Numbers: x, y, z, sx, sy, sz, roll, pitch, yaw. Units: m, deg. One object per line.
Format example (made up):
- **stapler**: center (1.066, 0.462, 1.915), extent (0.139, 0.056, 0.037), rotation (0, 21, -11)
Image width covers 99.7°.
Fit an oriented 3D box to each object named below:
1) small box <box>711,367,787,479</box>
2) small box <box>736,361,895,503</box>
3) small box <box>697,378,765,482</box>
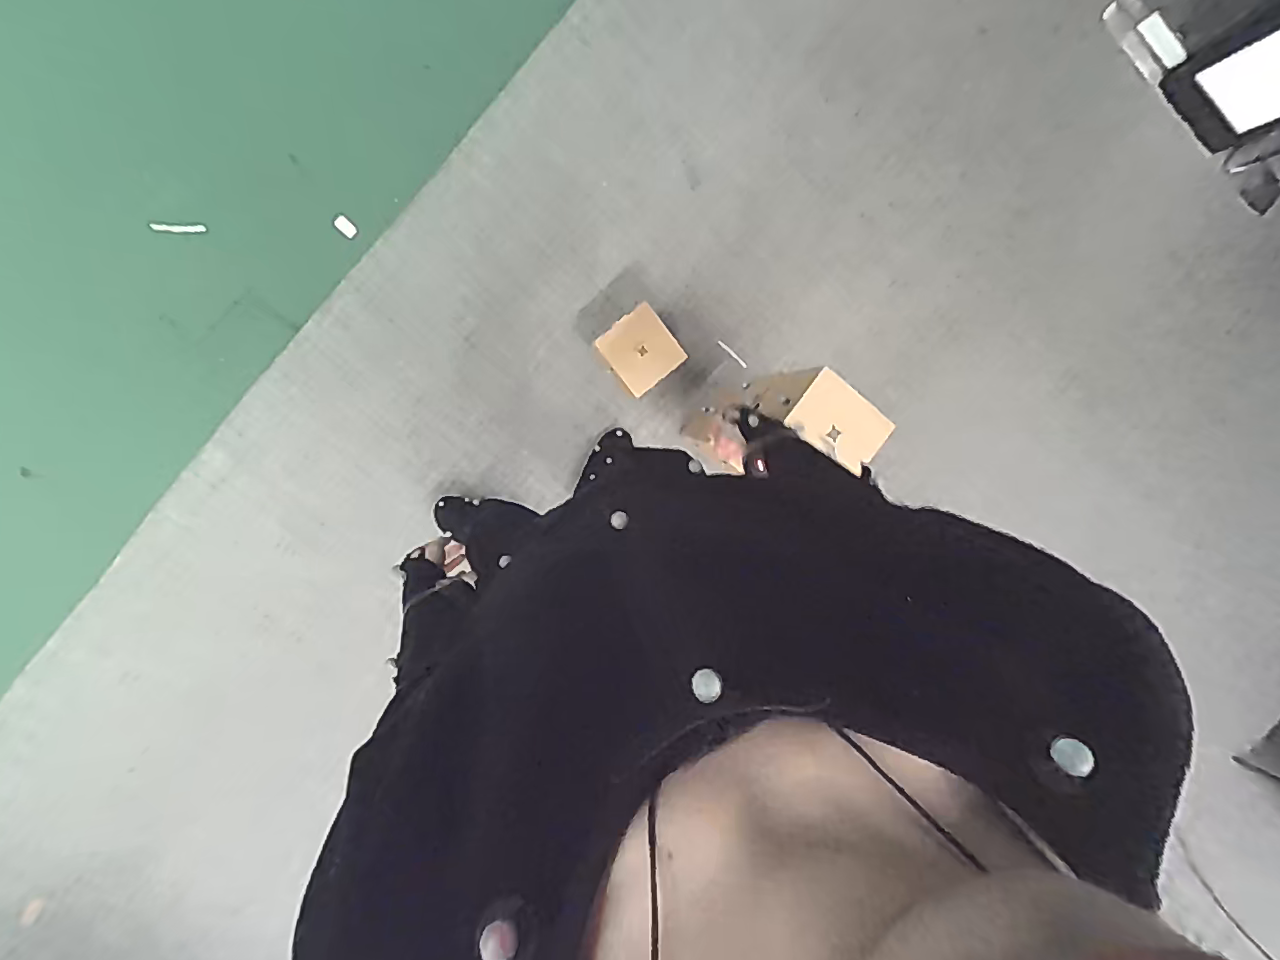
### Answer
- **small box**: center (0.273, -0.109, 1.120), extent (0.179, 0.176, 0.168), rotation (38, 91, -12)
- **small box**: center (0.298, -0.086, 0.959), extent (0.168, 0.176, 0.179), rotation (37, 91, -10)
- **small box**: center (0.253, -0.121, 1.284), extent (0.168, 0.176, 0.179), rotation (38, 92, -11)
